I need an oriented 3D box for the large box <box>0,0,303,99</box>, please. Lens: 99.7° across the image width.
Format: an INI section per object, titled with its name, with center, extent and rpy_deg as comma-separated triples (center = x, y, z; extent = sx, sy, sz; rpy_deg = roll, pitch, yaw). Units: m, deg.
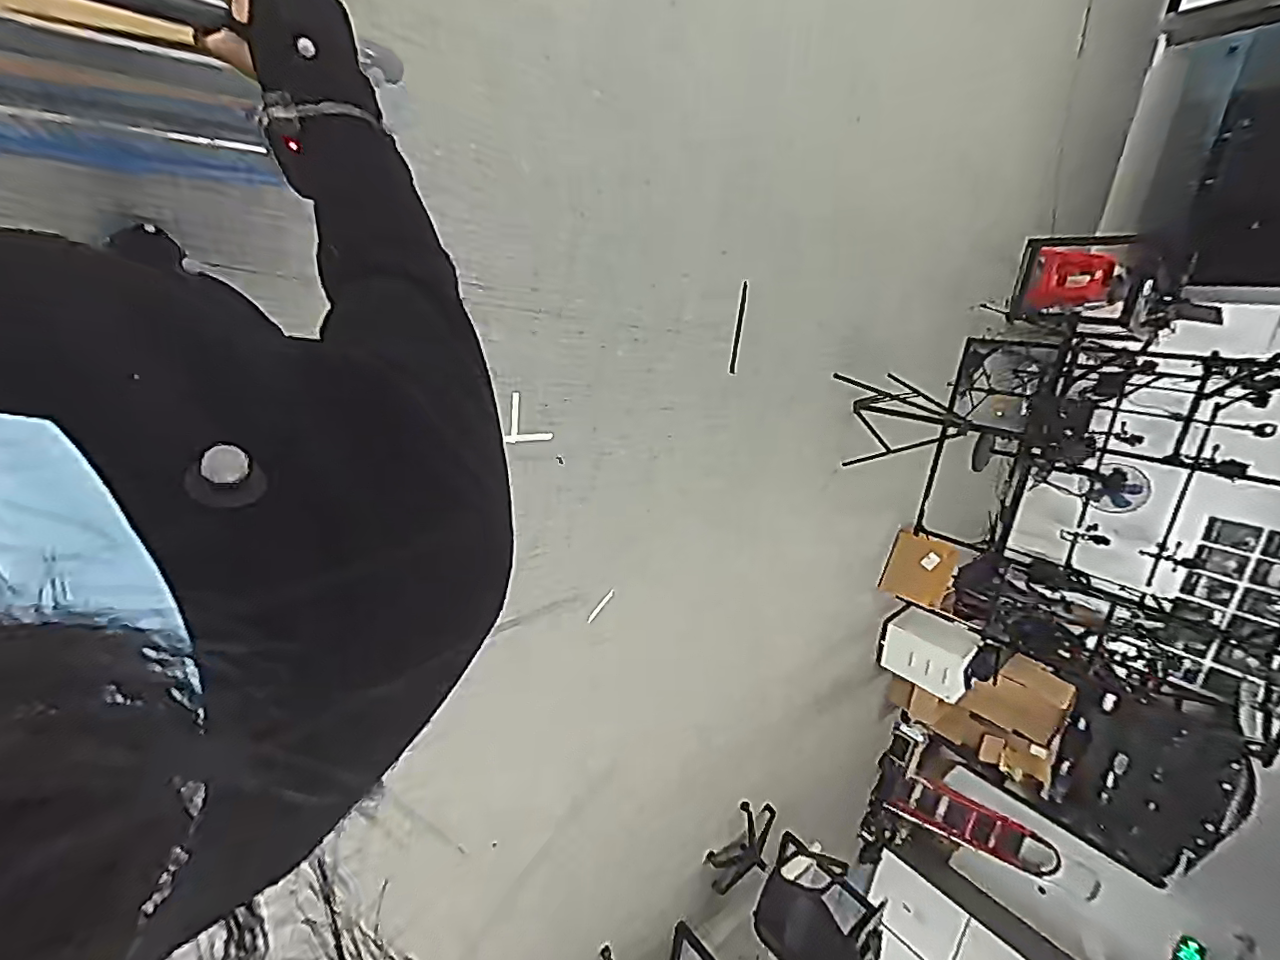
[large box]
center = -0.734, -0.740, 0.705
extent = 0.408, 0.320, 0.320
rpy_deg = -18, 119, -38
